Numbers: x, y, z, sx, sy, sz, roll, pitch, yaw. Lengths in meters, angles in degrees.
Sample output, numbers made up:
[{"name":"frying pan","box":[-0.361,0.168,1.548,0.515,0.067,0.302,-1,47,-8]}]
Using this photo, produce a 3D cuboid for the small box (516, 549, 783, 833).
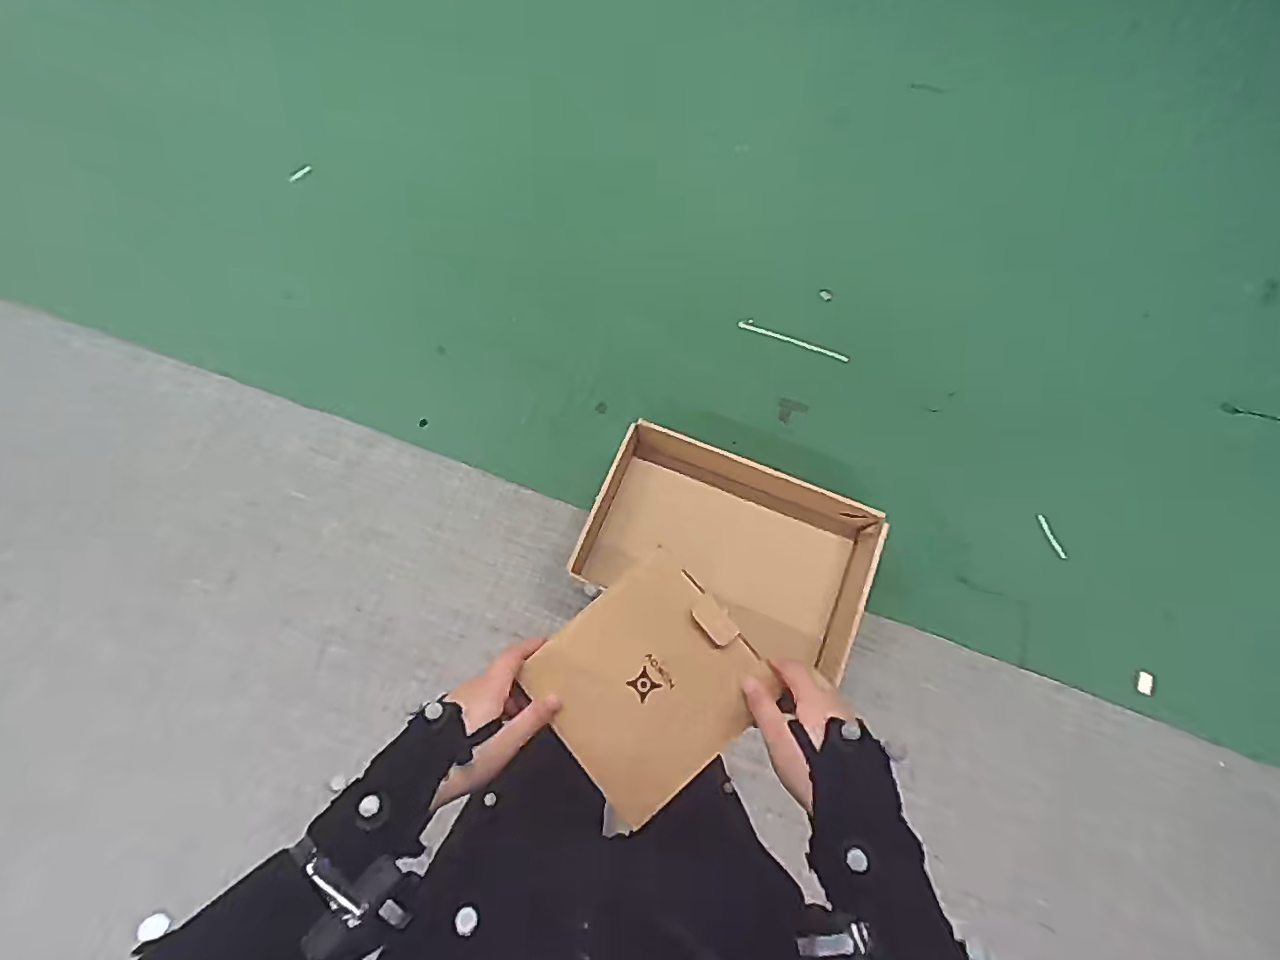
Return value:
[{"name":"small box","box":[0.011,0.193,0.541,0.179,0.176,0.168,-42,80,-7]}]
